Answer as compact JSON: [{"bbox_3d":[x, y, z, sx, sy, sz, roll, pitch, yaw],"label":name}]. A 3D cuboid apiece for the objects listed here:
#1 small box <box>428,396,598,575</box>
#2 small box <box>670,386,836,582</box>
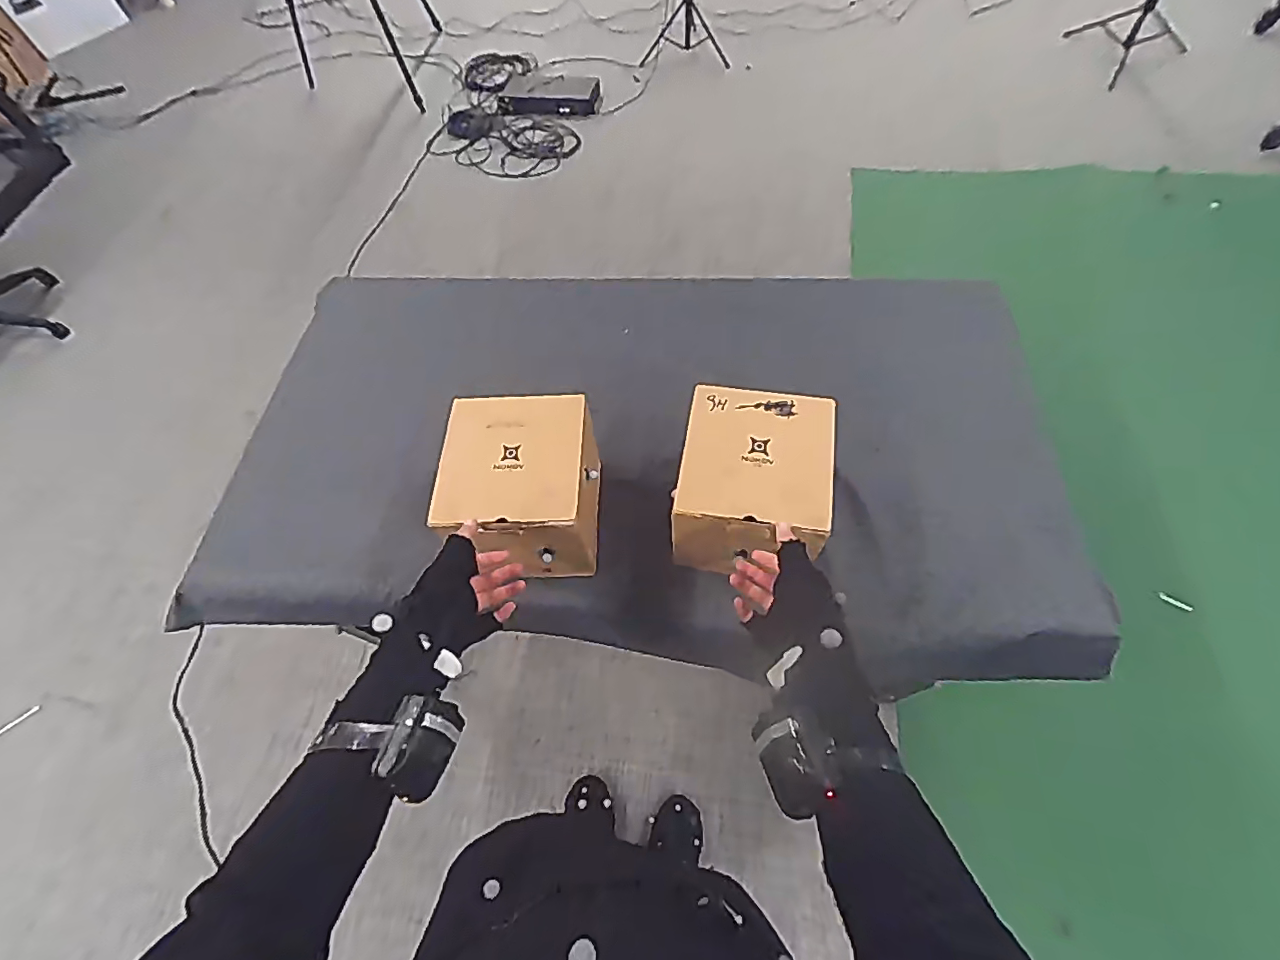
[{"bbox_3d":[-0.145,0.015,0.689,0.168,0.176,0.179,-1,59,2],"label":"small box"},{"bbox_3d":[0.135,0.012,0.669,0.168,0.176,0.179,9,63,9],"label":"small box"}]
